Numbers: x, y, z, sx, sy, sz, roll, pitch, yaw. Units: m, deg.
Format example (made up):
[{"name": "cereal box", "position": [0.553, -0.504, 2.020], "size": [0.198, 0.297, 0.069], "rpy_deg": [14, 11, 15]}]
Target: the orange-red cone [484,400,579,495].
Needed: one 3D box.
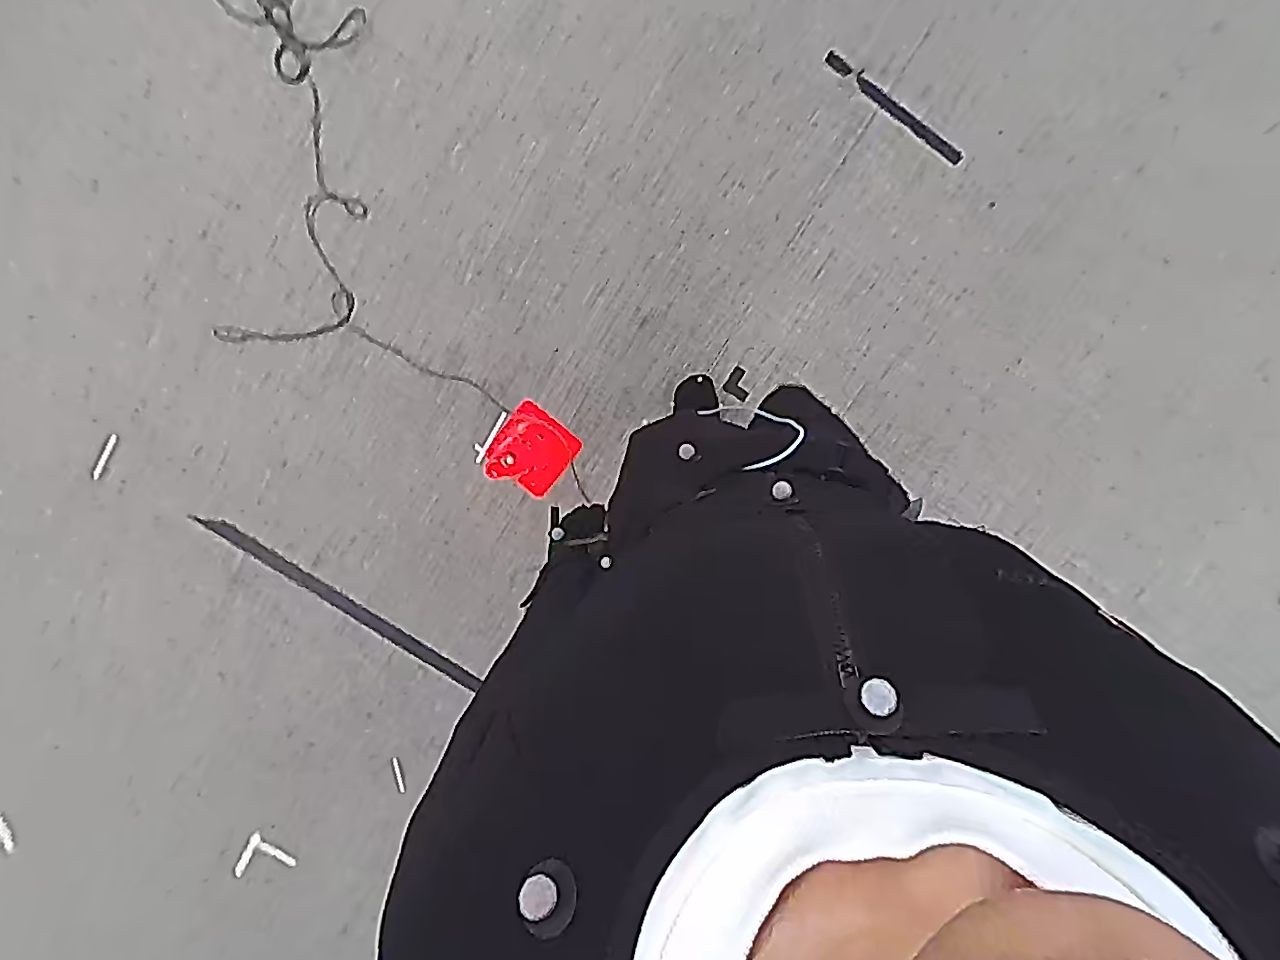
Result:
[{"name": "orange-red cone", "position": [-0.289, -0.053, 1.260], "size": [0.199, 0.360, 0.198], "rpy_deg": [40, 99, -6]}]
